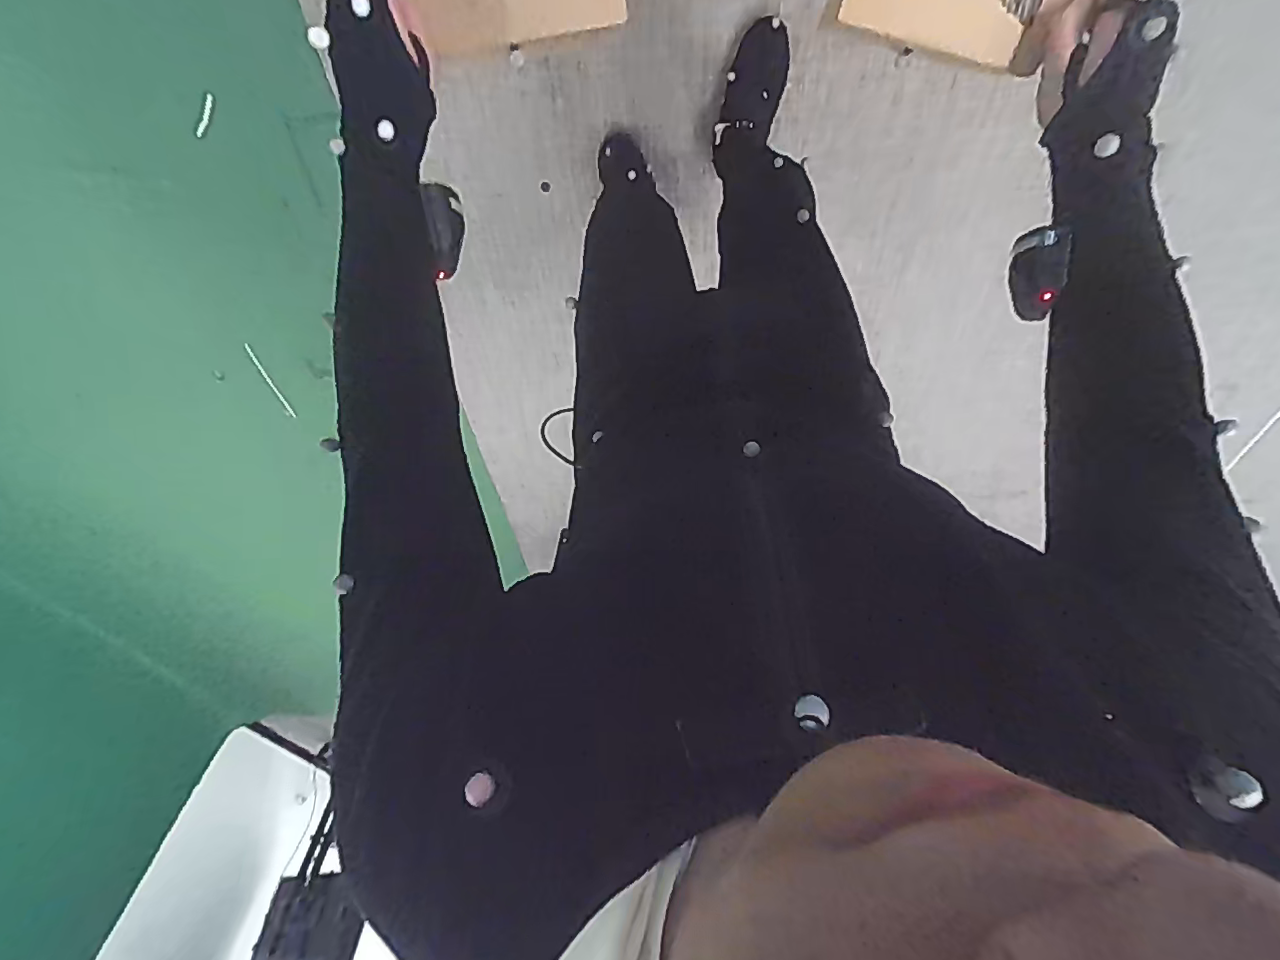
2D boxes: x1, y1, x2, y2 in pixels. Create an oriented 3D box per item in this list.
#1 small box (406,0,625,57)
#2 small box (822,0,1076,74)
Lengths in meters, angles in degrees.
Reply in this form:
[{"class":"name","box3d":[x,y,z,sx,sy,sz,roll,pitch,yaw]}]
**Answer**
[{"class":"small box","box3d":[-0.114,-0.480,0.462,0.179,0.176,0.168,-10,126,-1]},{"class":"small box","box3d":[0.273,-0.468,0.455,0.179,0.176,0.168,16,129,0]}]
